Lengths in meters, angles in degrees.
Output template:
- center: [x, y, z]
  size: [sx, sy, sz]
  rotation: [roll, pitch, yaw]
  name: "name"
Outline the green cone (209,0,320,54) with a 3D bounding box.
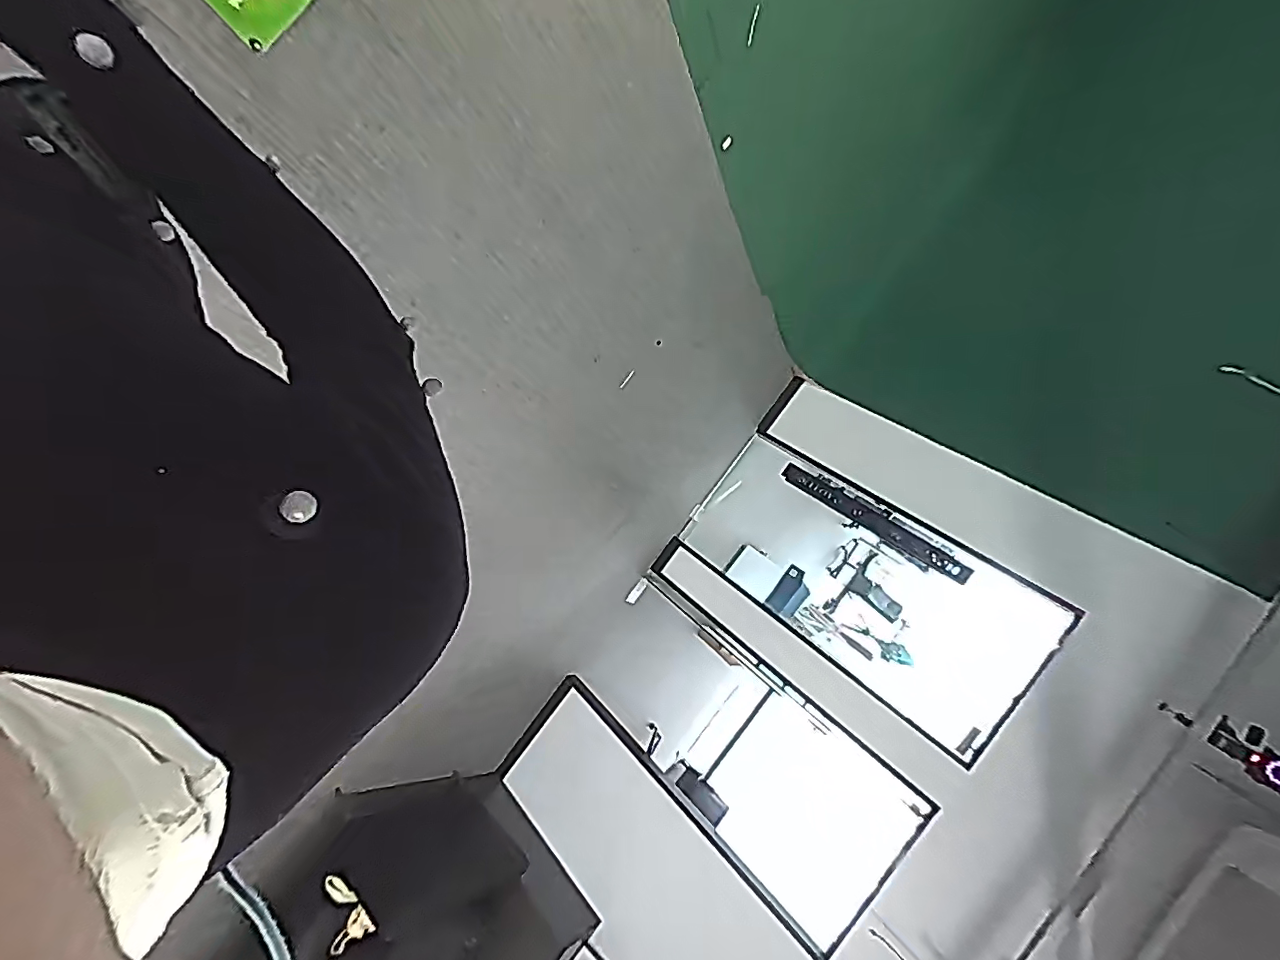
- center: [-0.640, -0.906, 0.957]
  size: [0.200, 0.368, 0.202]
  rotation: [-53, 147, -3]
  name: "green cone"
